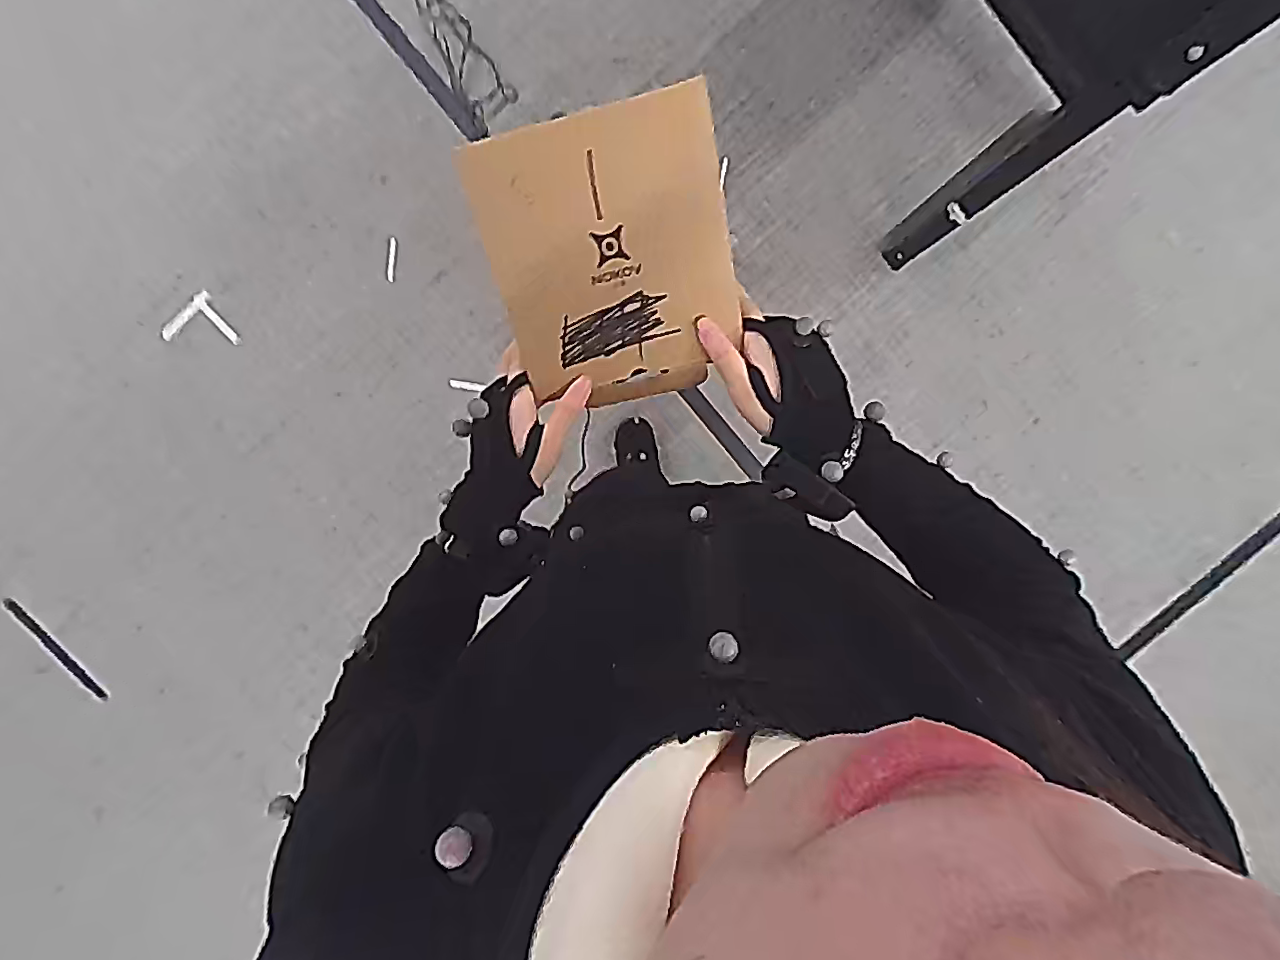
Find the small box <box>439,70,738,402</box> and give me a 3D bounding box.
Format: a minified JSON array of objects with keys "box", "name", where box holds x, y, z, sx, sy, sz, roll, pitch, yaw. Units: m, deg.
[{"box":[-0.027,-0.185,0.431,0.168,0.176,0.179,-13,116,5],"name":"small box"}]
